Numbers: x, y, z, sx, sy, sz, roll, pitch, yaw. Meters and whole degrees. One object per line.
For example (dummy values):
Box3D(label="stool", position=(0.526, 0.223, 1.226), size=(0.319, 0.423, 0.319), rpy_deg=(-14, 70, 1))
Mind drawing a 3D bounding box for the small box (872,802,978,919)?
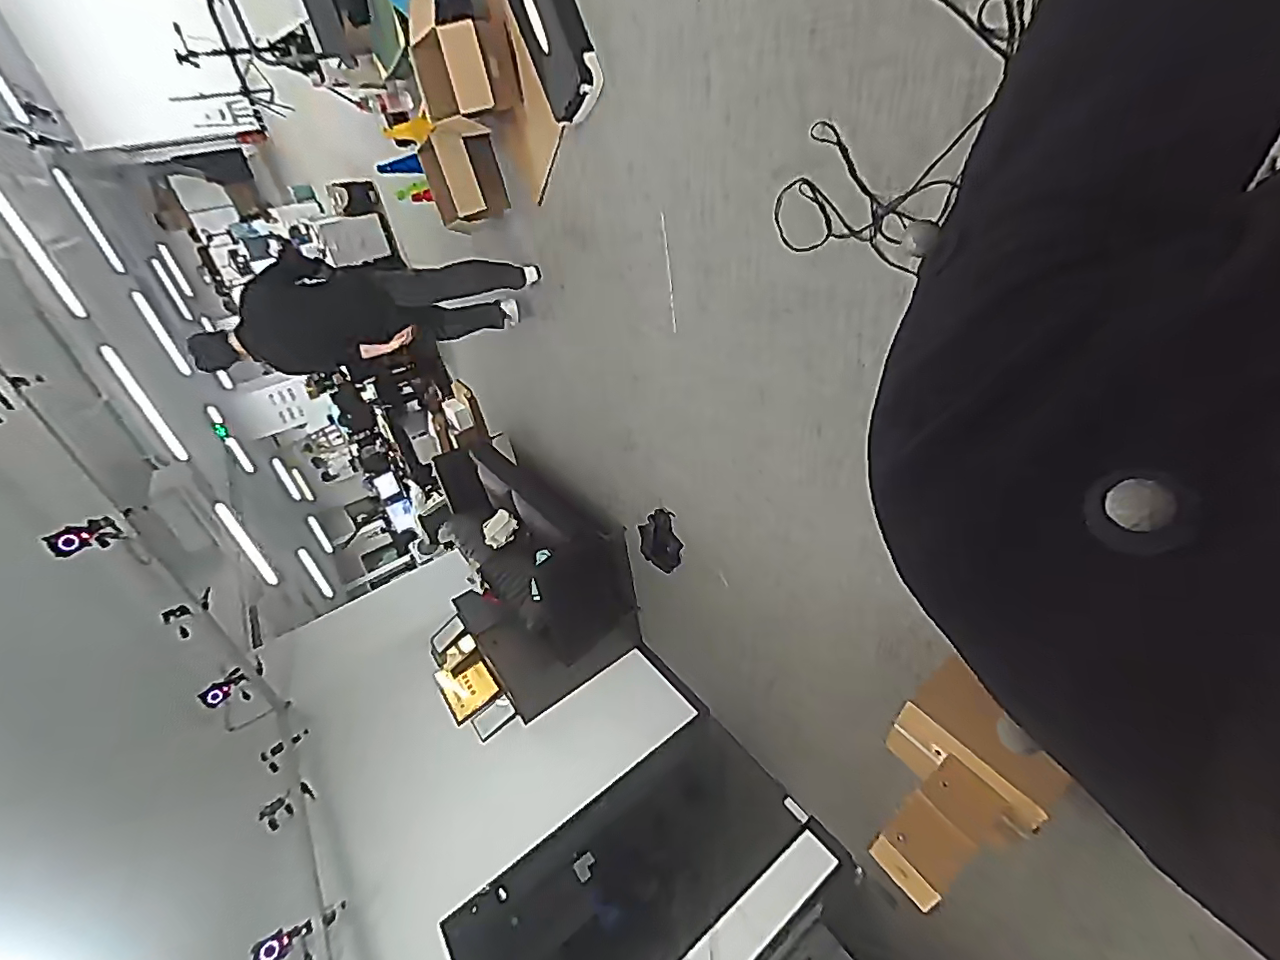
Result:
Box3D(label="small box", position=(0.769, 1.022, 1.460), size=(0.179, 0.176, 0.168), rpy_deg=(40, 148, 40))

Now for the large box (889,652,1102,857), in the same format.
Box3D(label="large box", position=(1.064, 0.823, 1.658), size=(0.408, 0.320, 0.320), rpy_deg=(40, 146, 41))

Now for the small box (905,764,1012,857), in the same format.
Box3D(label="small box", position=(0.894, 0.939, 1.524), size=(0.179, 0.176, 0.168), rpy_deg=(39, 147, 39))
